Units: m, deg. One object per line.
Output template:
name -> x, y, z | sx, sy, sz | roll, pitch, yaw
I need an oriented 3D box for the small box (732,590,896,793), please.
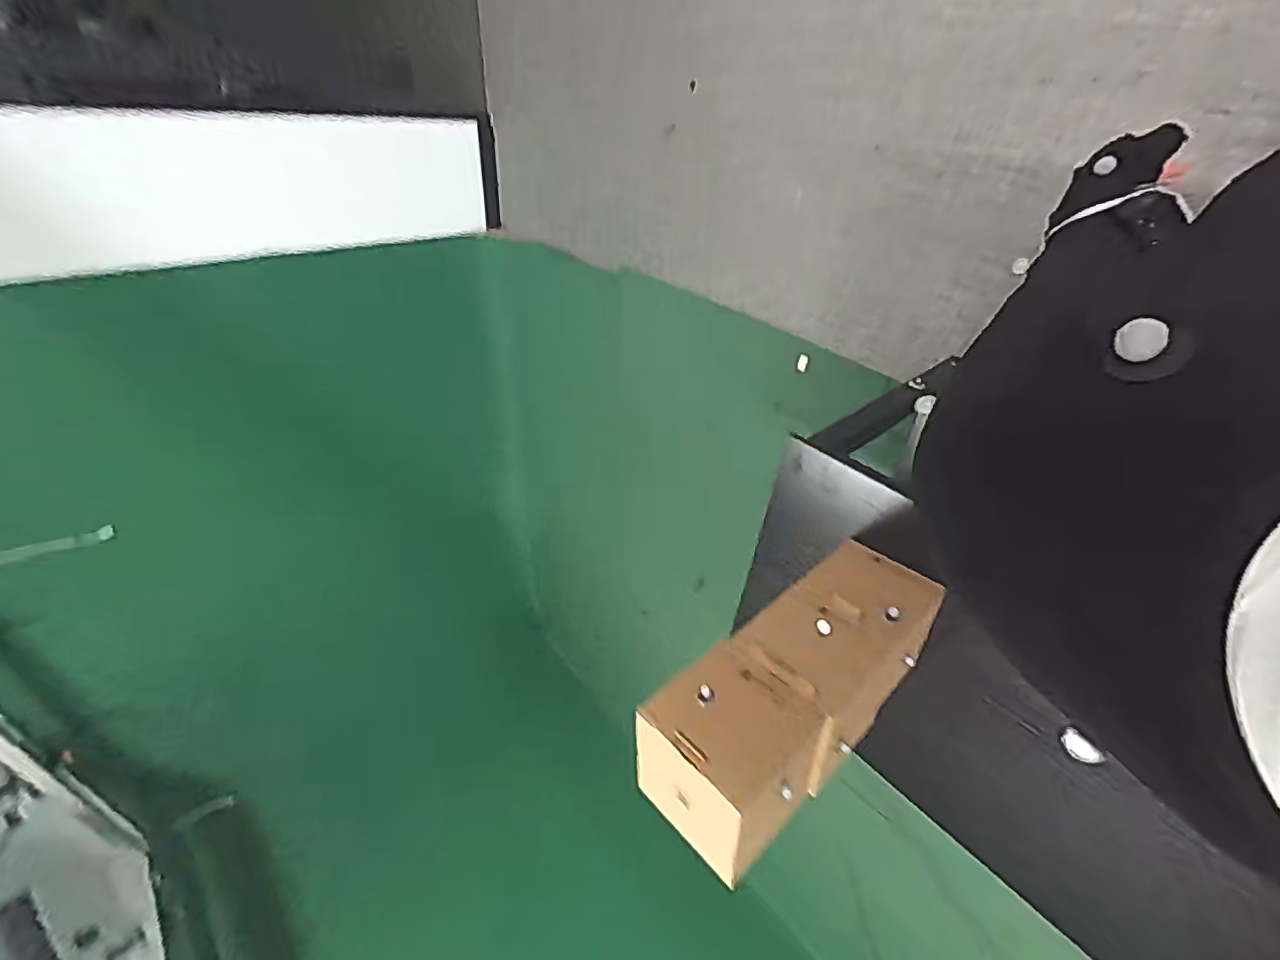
small box -> 0.247, 0.297, 0.790 | 0.168, 0.176, 0.179 | 28, 132, 39

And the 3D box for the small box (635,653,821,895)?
small box -> 0.110, 0.360, 0.691 | 0.168, 0.176, 0.179 | 29, 133, 40
